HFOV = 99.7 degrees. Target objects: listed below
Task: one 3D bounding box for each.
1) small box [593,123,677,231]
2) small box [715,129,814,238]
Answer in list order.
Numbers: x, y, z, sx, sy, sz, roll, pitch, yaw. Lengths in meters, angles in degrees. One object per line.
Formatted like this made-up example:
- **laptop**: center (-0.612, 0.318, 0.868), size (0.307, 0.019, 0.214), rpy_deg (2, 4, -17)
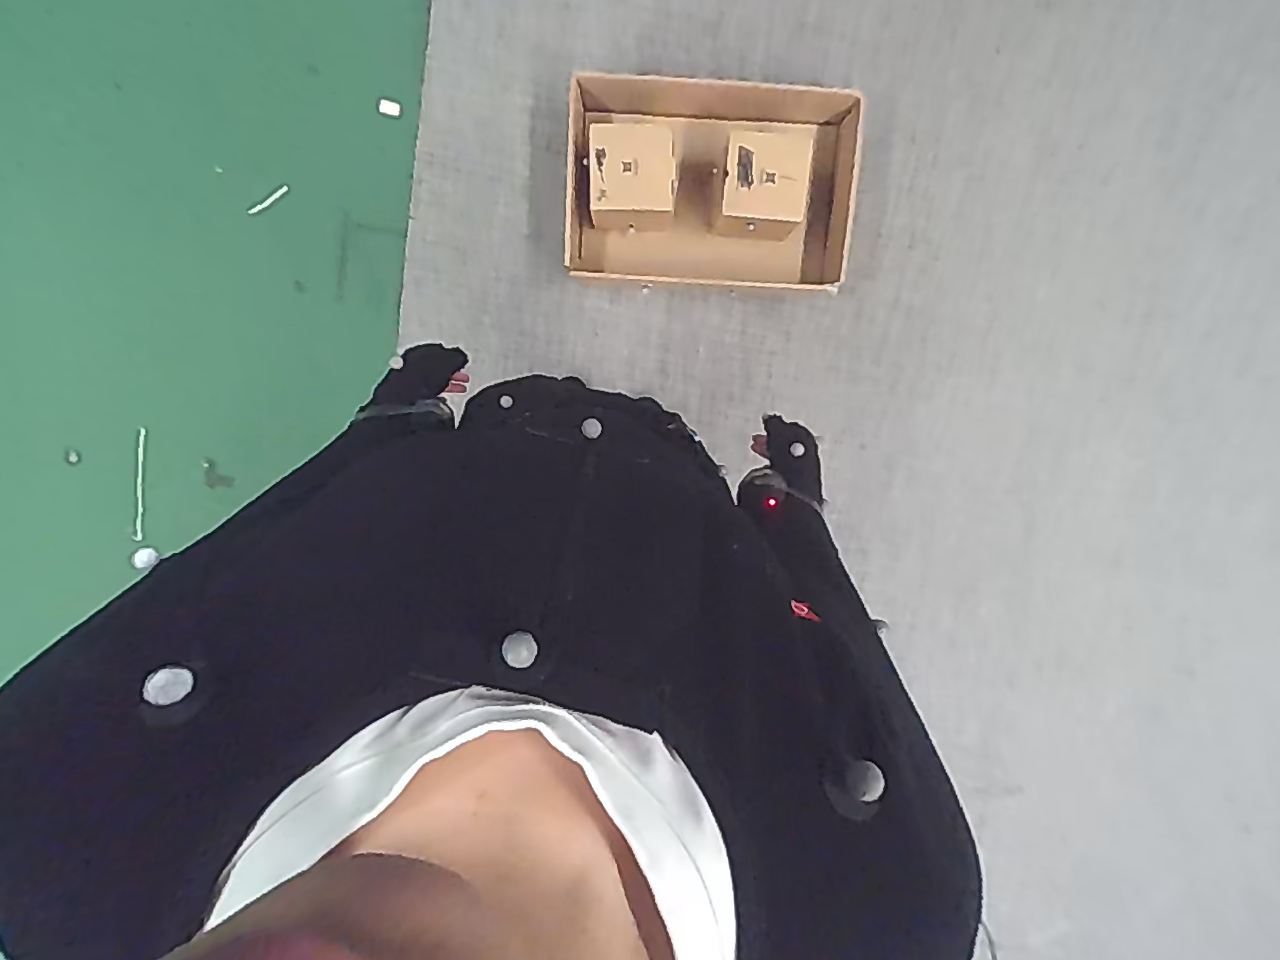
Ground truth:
- **small box**: center (-0.014, -0.664, 1.200), size (0.179, 0.176, 0.168), rpy_deg (0, 101, -2)
- **small box**: center (0.267, -0.649, 1.203), size (0.179, 0.176, 0.168), rpy_deg (5, 101, 0)
